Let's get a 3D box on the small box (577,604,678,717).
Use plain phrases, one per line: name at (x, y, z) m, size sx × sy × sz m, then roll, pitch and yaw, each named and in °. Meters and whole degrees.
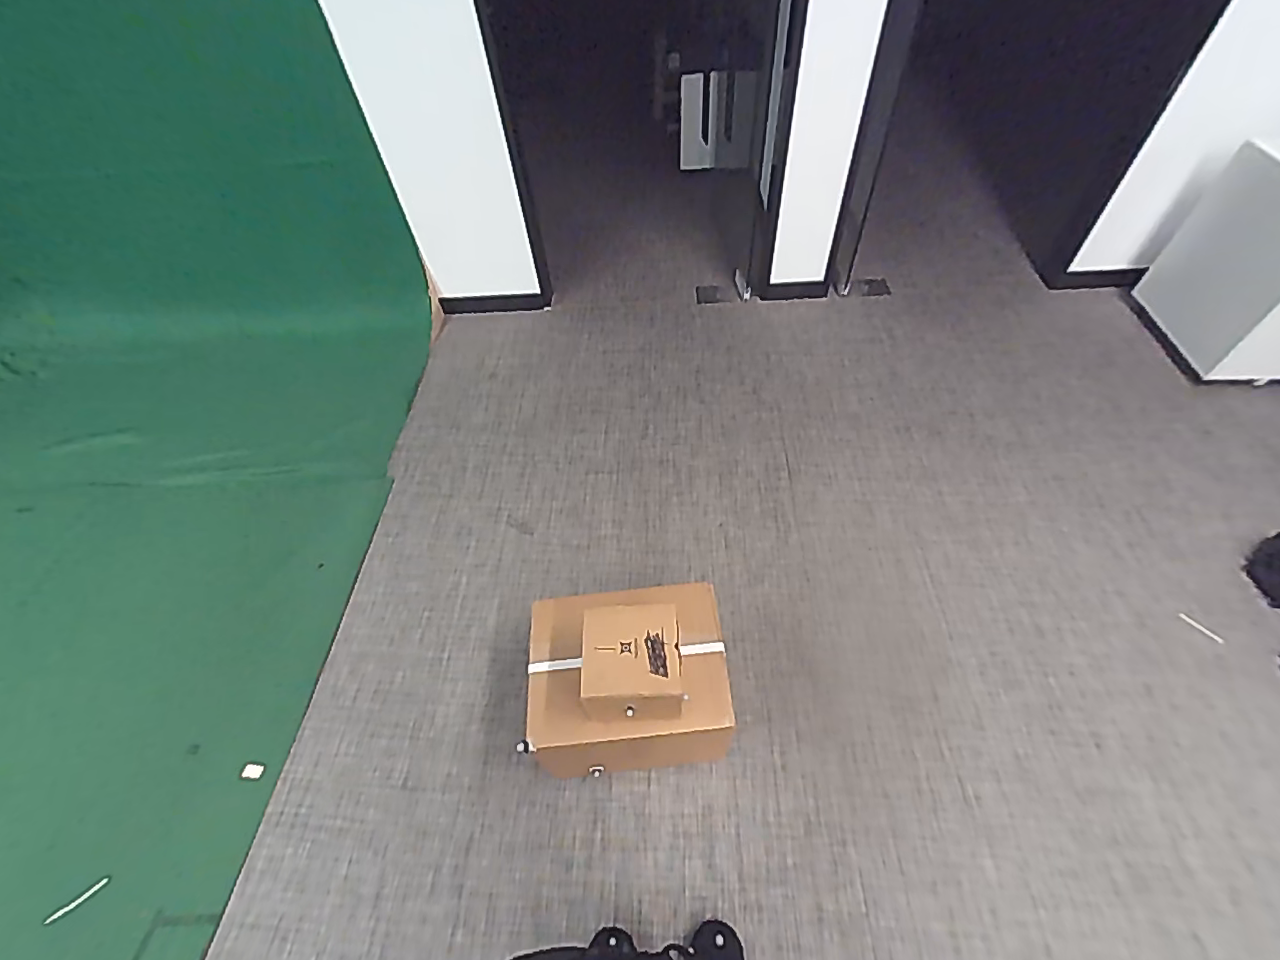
small box at (-0.018, 0.349, 1.037) m, size 0.179 × 0.176 × 0.168 m, roll -3°, pitch 53°, yaw 3°
